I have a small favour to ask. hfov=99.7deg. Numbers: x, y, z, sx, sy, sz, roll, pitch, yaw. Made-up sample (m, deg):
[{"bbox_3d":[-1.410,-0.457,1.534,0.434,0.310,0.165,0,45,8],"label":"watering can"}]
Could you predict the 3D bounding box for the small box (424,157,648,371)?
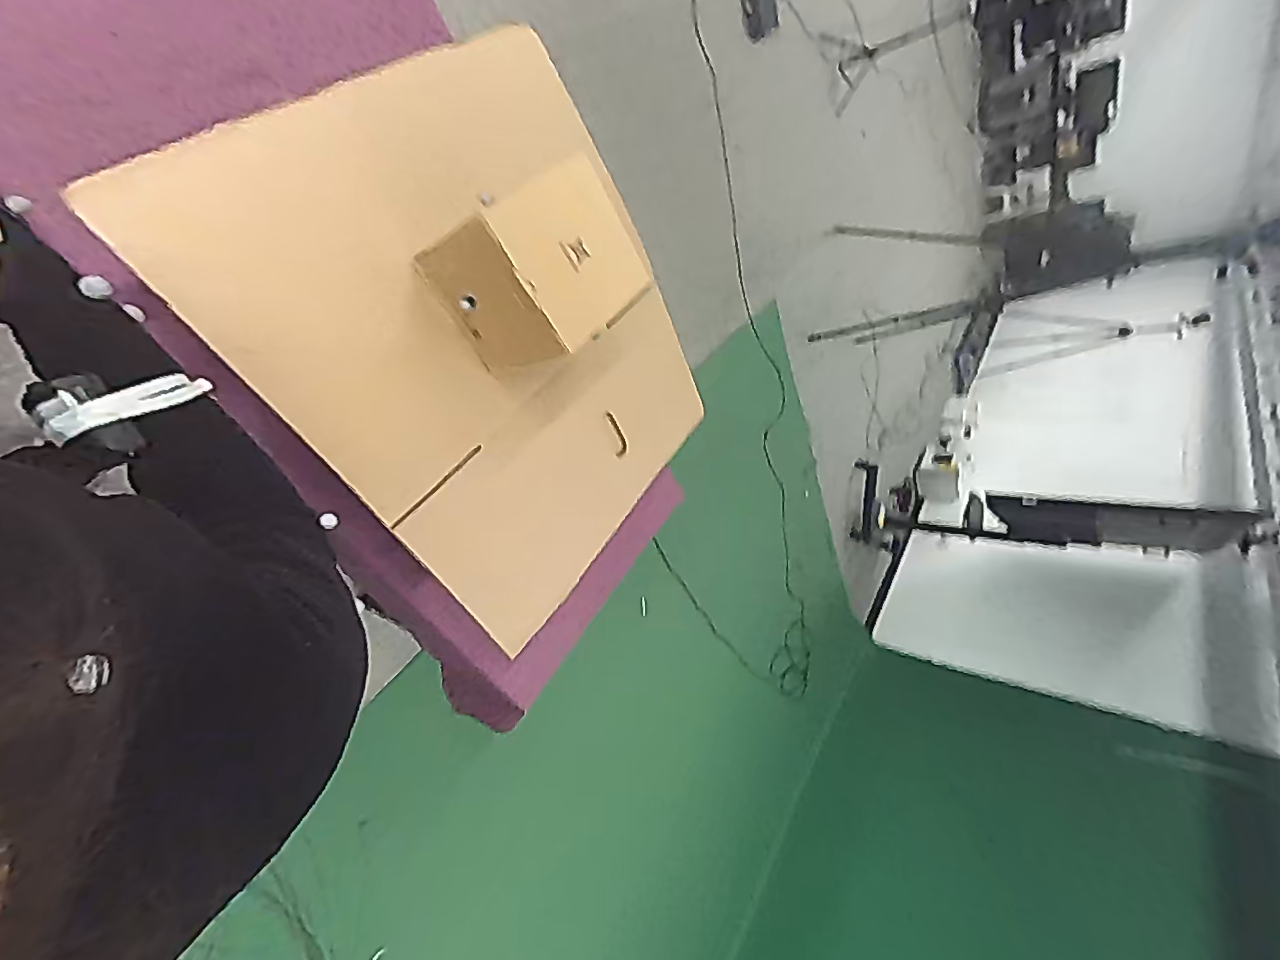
[{"bbox_3d":[-0.128,-0.256,0.669,0.179,0.176,0.168,-50,122,-30],"label":"small box"}]
